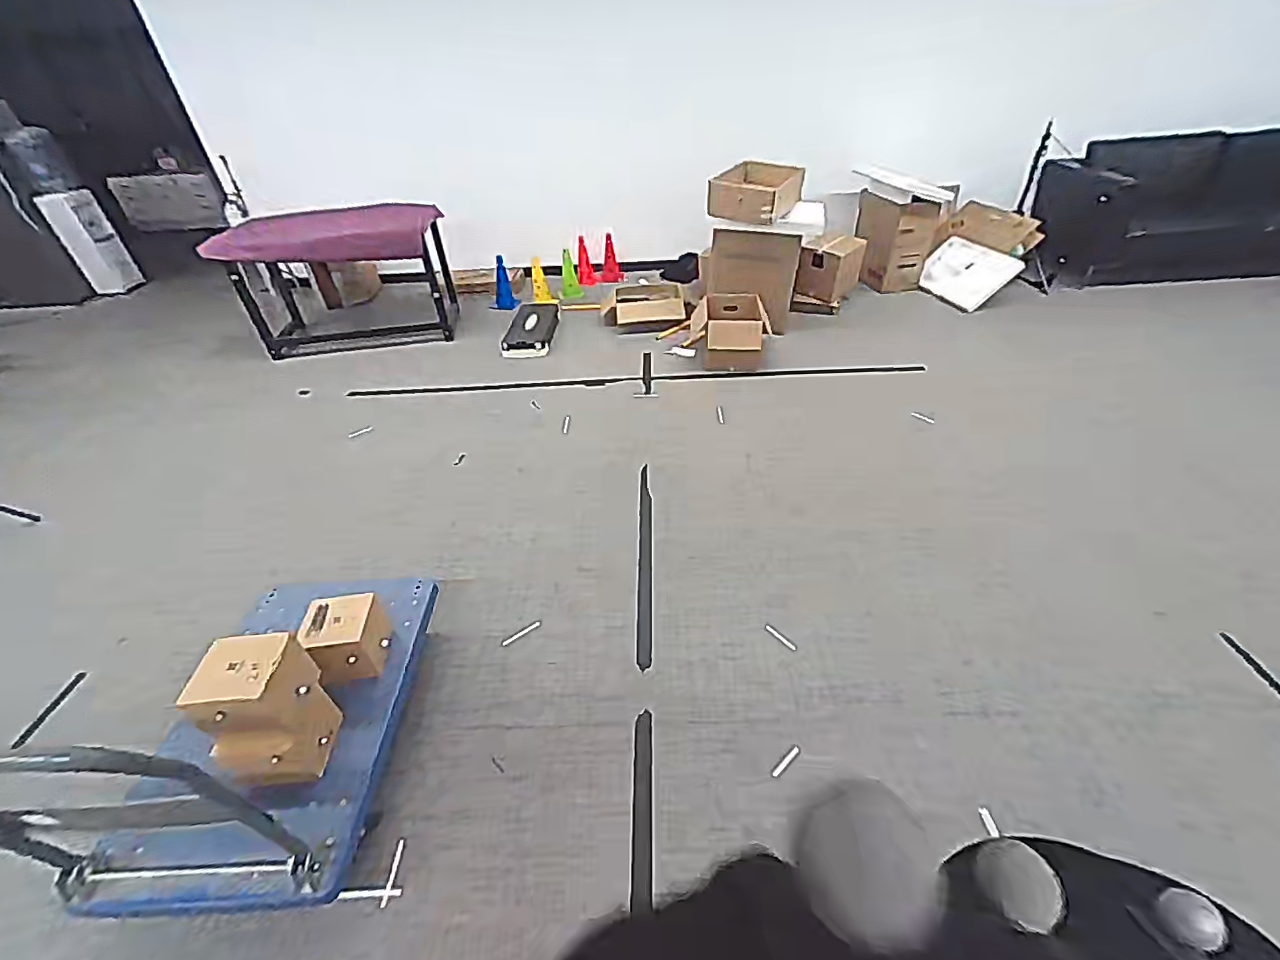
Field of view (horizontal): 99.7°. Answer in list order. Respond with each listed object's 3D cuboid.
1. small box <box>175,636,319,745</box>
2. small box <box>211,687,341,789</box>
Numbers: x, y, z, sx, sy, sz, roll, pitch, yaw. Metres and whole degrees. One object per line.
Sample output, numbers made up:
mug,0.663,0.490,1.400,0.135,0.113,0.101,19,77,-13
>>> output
small box,-0.876,0.479,1.226,0.179,0.176,0.168,-5,39,-2
small box,-0.867,0.624,1.307,0.179,0.176,0.168,-5,38,-3
